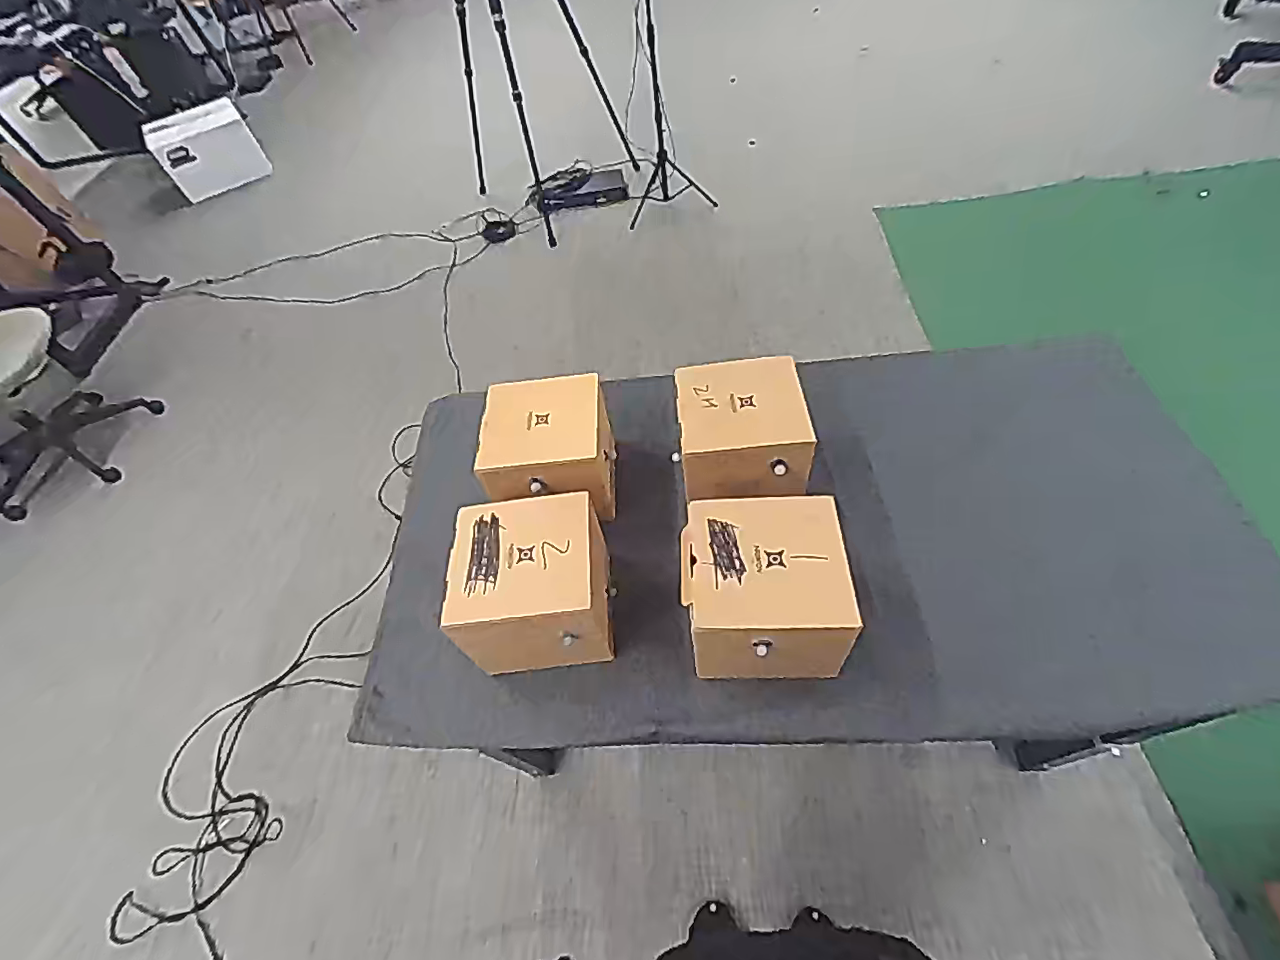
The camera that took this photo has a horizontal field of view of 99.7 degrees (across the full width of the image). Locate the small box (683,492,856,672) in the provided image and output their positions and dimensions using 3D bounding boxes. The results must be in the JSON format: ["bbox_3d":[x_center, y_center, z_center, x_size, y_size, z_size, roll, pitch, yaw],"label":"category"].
[{"bbox_3d":[0.148,0.132,0.668,0.179,0.176,0.168,-3,54,7],"label":"small box"}]

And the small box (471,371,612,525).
[{"bbox_3d":[-0.139,-0.044,0.845,0.179,0.176,0.168,-7,55,5],"label":"small box"}]
